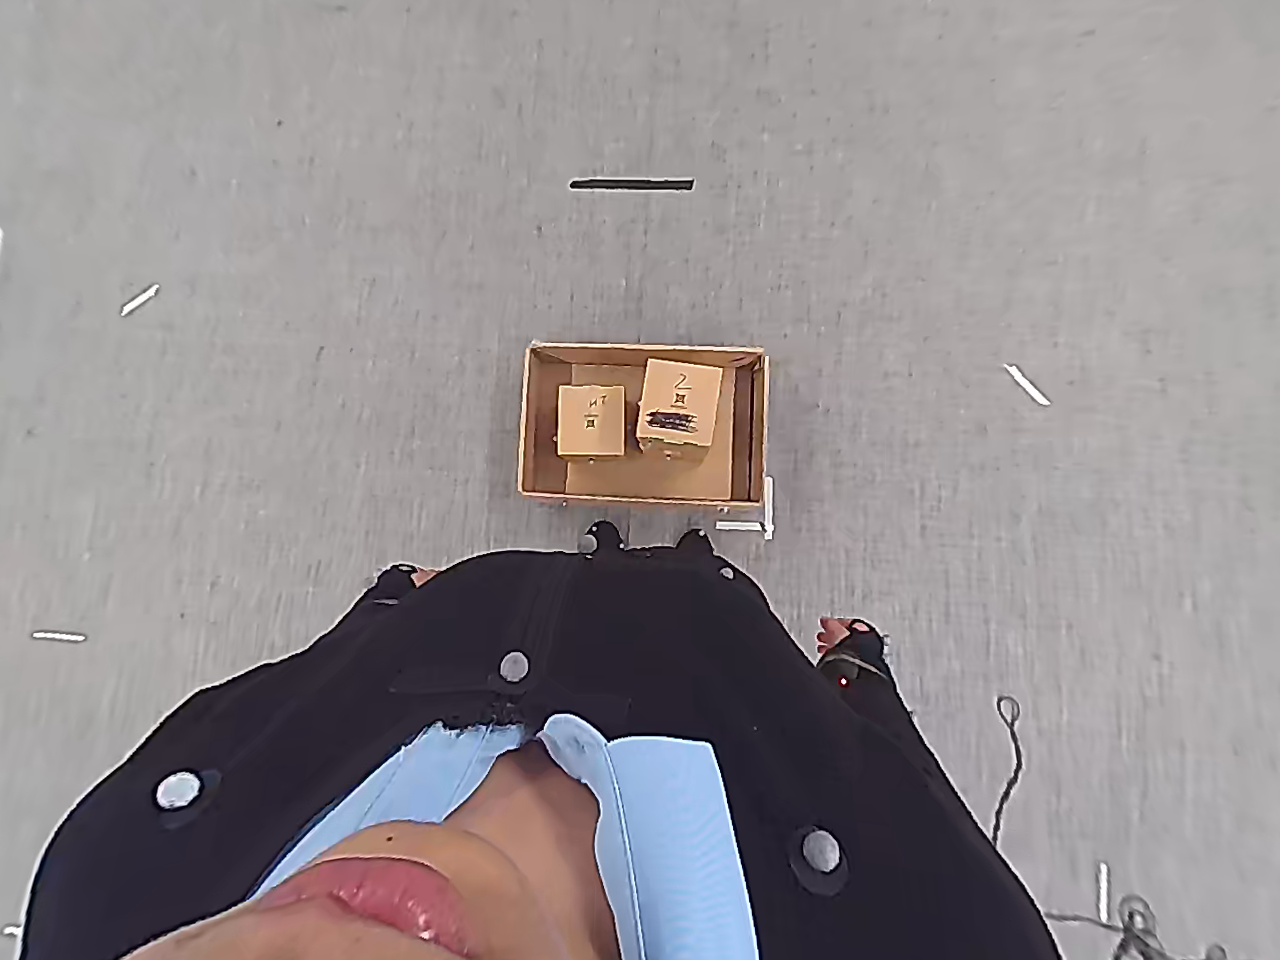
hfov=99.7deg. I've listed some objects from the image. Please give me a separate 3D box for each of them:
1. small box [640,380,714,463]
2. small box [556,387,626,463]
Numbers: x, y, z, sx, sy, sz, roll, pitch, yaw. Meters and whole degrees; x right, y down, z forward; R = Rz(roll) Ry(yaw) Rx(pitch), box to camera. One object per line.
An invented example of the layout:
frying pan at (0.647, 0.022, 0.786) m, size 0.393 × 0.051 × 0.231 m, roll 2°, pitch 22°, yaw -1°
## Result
small box at (0.095, -0.147, 1.405) m, size 0.168 × 0.176 × 0.179 m, roll 7°, pitch 86°, yaw 5°
small box at (-0.122, -0.137, 1.408) m, size 0.168 × 0.176 × 0.179 m, roll 1°, pitch 85°, yaw 0°
